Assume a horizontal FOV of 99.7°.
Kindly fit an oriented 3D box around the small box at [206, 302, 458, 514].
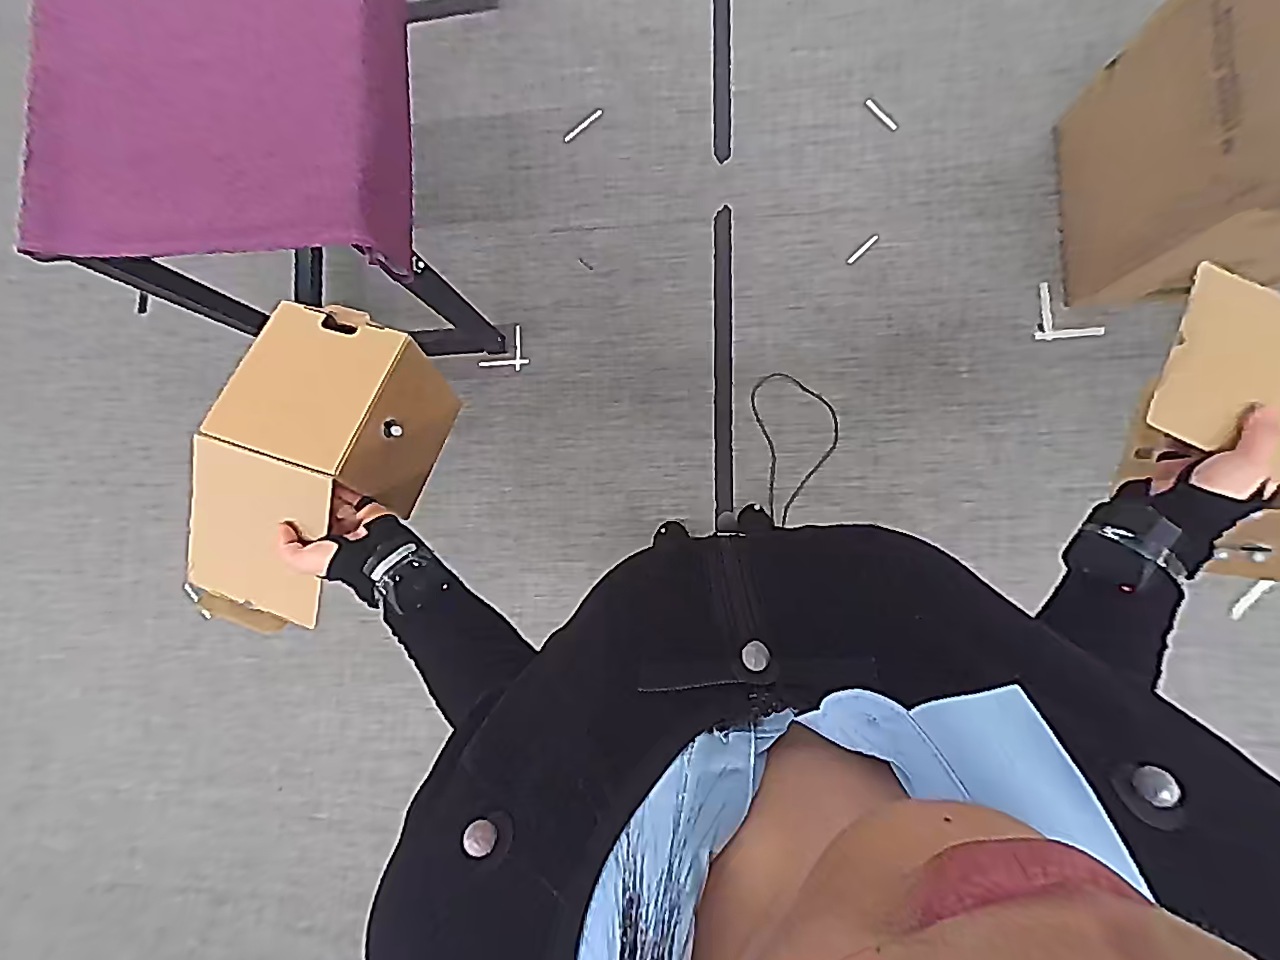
[{"bbox_3d":[-0.346,-0.075,0.651,0.168,0.176,0.179,17,71,8],"label":"small box"}]
